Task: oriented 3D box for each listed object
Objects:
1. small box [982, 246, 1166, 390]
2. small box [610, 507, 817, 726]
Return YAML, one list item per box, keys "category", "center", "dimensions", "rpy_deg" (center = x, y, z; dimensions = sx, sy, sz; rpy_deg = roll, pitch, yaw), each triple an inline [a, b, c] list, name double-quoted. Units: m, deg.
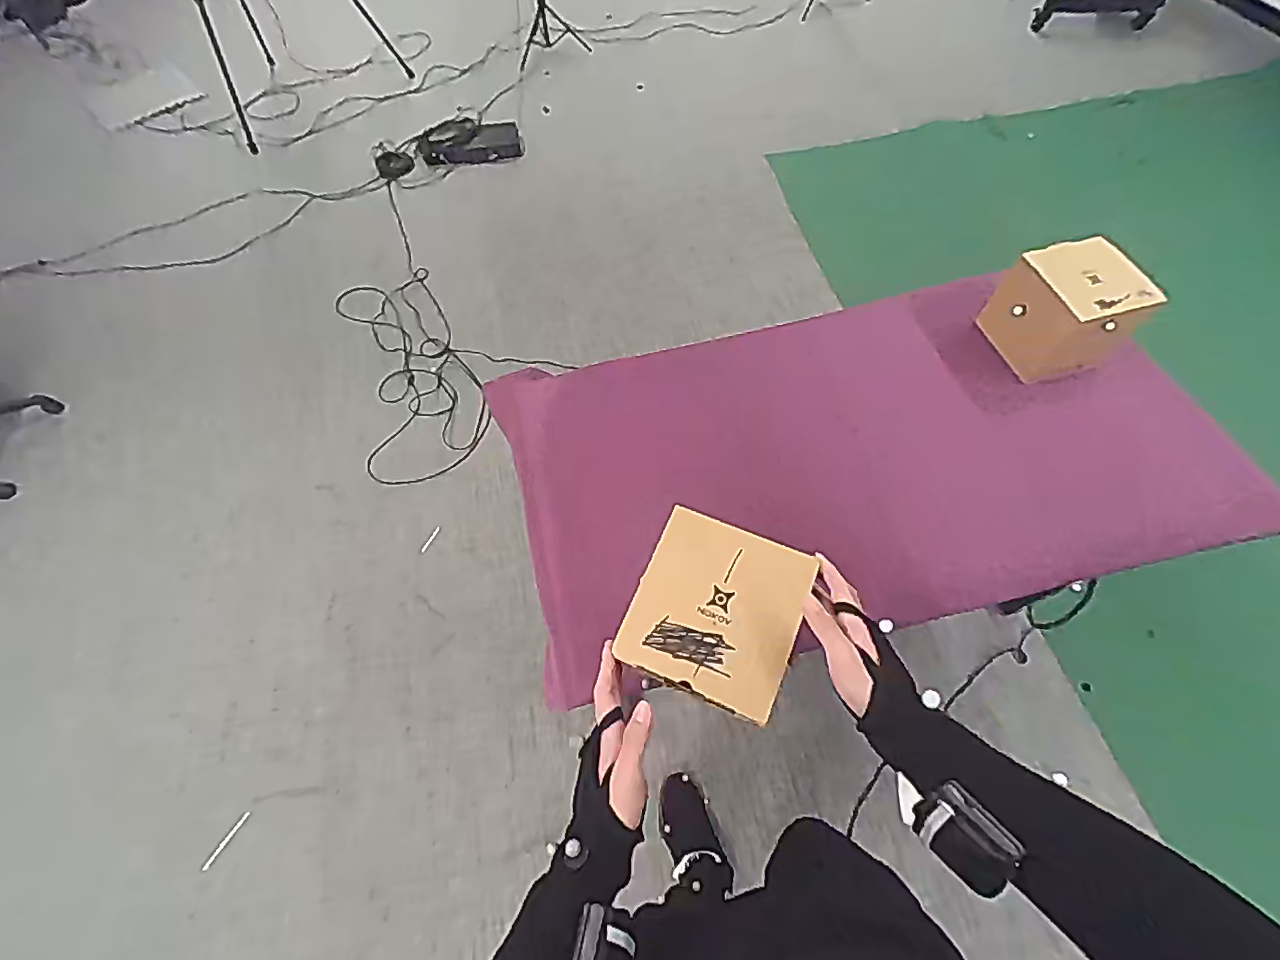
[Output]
- category: "small box"
  center: [0.788, -0.298, 1.009]
  dimensions: [0.168, 0.176, 0.179]
  rpy_deg: [-14, 60, -4]
- category: "small box"
  center: [0.086, 0.162, 0.624]
  dimensions: [0.168, 0.176, 0.179]
  rpy_deg: [21, 70, 15]
